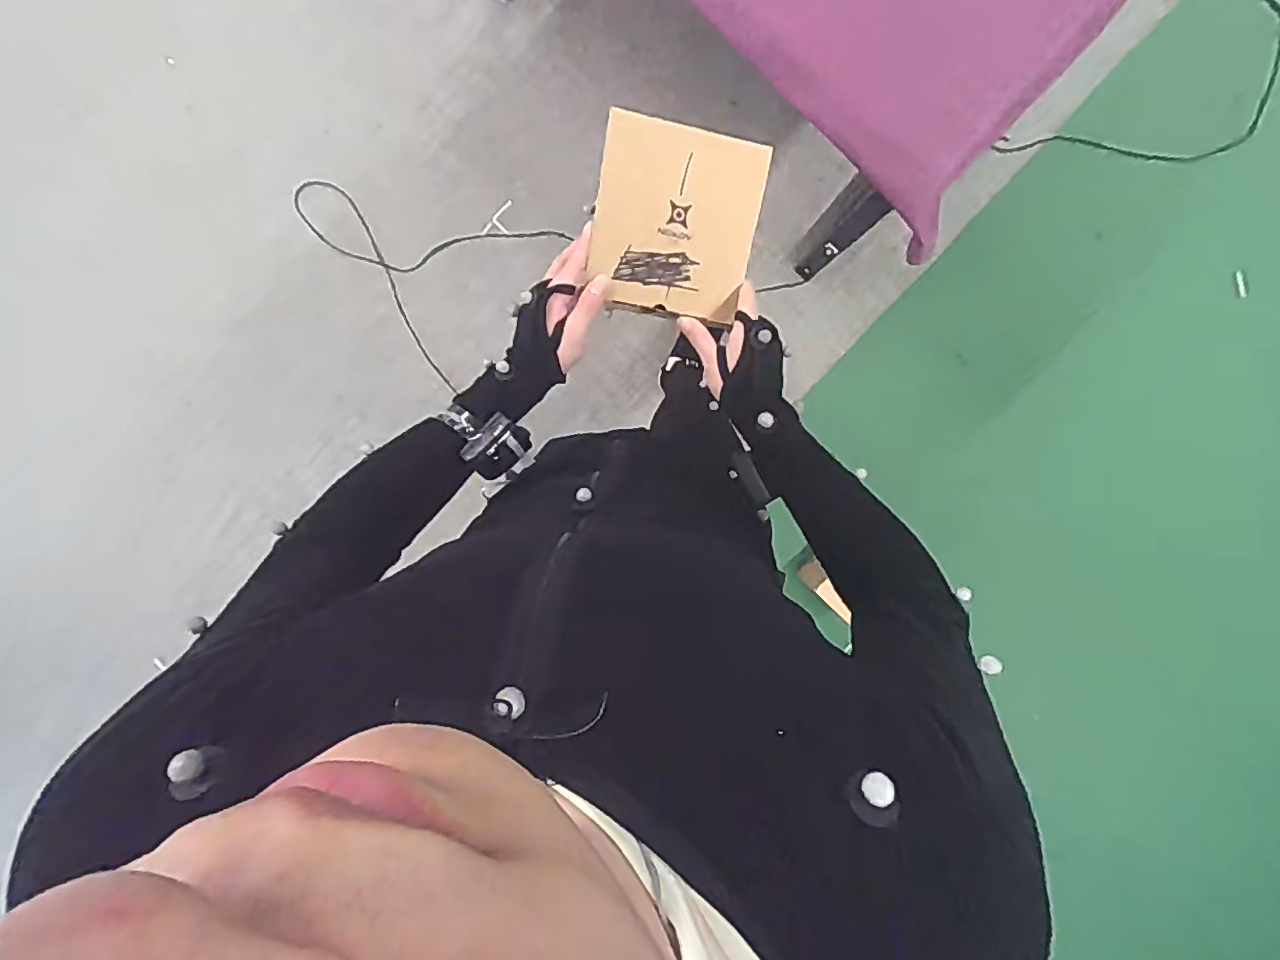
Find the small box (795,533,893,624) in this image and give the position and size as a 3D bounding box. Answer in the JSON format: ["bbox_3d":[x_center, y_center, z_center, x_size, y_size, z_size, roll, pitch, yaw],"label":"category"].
[{"bbox_3d":[0.588,0.280,1.581,0.179,0.176,0.168,43,95,-6],"label":"small box"}]

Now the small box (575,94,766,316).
[{"bbox_3d":[0.021,-0.291,0.616,0.168,0.176,0.179,8,105,-9],"label":"small box"}]
